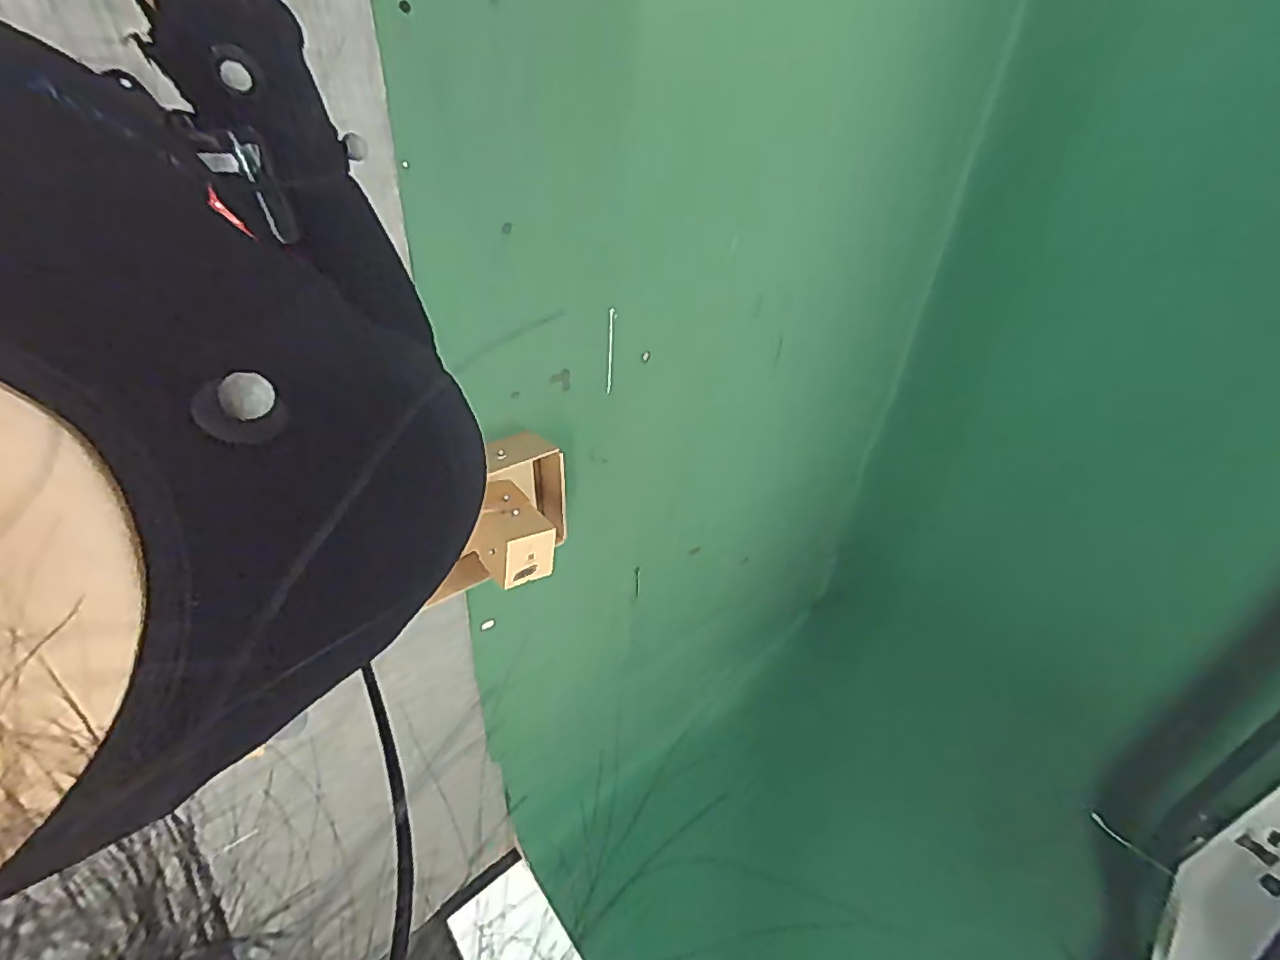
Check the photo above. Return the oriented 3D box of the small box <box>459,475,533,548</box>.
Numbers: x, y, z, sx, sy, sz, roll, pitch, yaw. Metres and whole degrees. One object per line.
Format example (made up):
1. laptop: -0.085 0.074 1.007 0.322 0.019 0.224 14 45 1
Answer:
1. small box: -0.477 0.097 1.770 0.179 0.176 0.168 -10 125 -40

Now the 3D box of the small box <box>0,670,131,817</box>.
1. small box: -1.197 0.530 1.112 0.179 0.176 0.168 -20 128 -35

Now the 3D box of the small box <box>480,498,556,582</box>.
1. small box: -0.380 0.180 1.664 0.168 0.176 0.179 -13 126 -39
